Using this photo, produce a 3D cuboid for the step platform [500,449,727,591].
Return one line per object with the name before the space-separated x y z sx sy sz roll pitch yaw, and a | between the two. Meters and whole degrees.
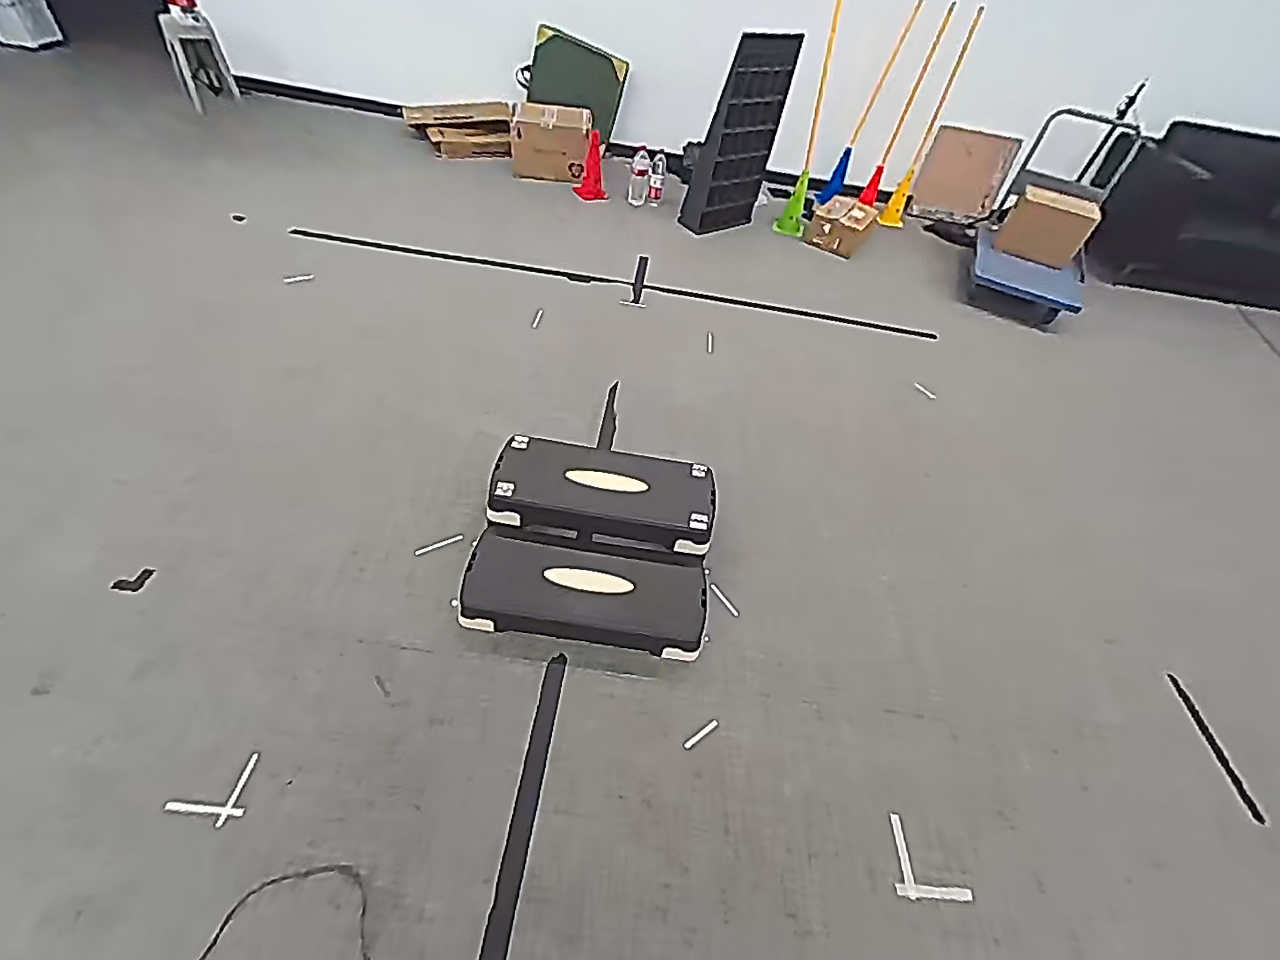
step platform | -0.076 0.117 1.679 0.684 0.204 0.286 13 46 1
